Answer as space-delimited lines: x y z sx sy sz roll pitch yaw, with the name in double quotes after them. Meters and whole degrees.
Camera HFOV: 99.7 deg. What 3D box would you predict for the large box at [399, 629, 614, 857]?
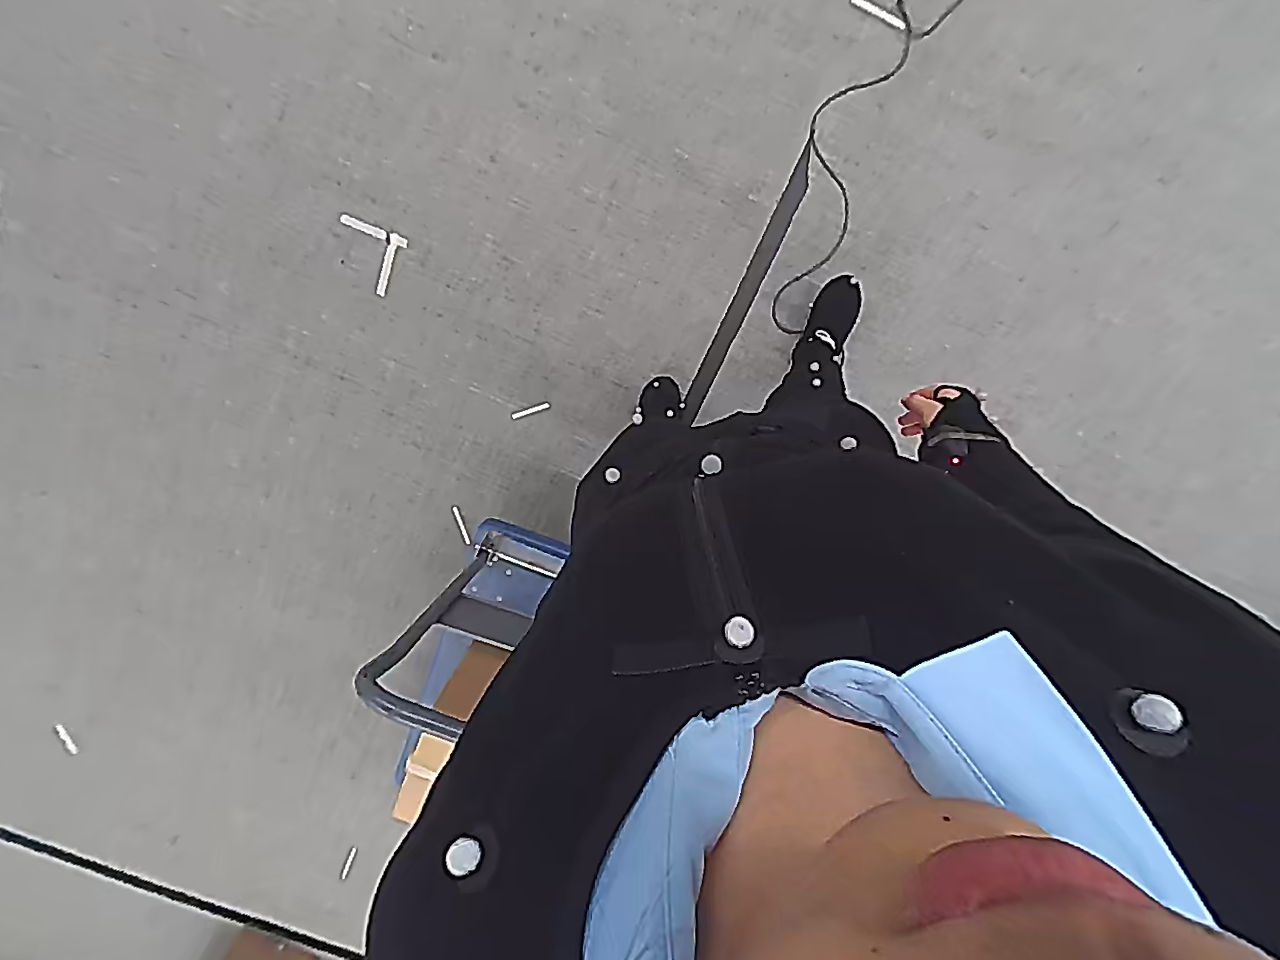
-0.309 0.635 1.352 0.408 0.320 0.320 22 104 -5 "large box"
